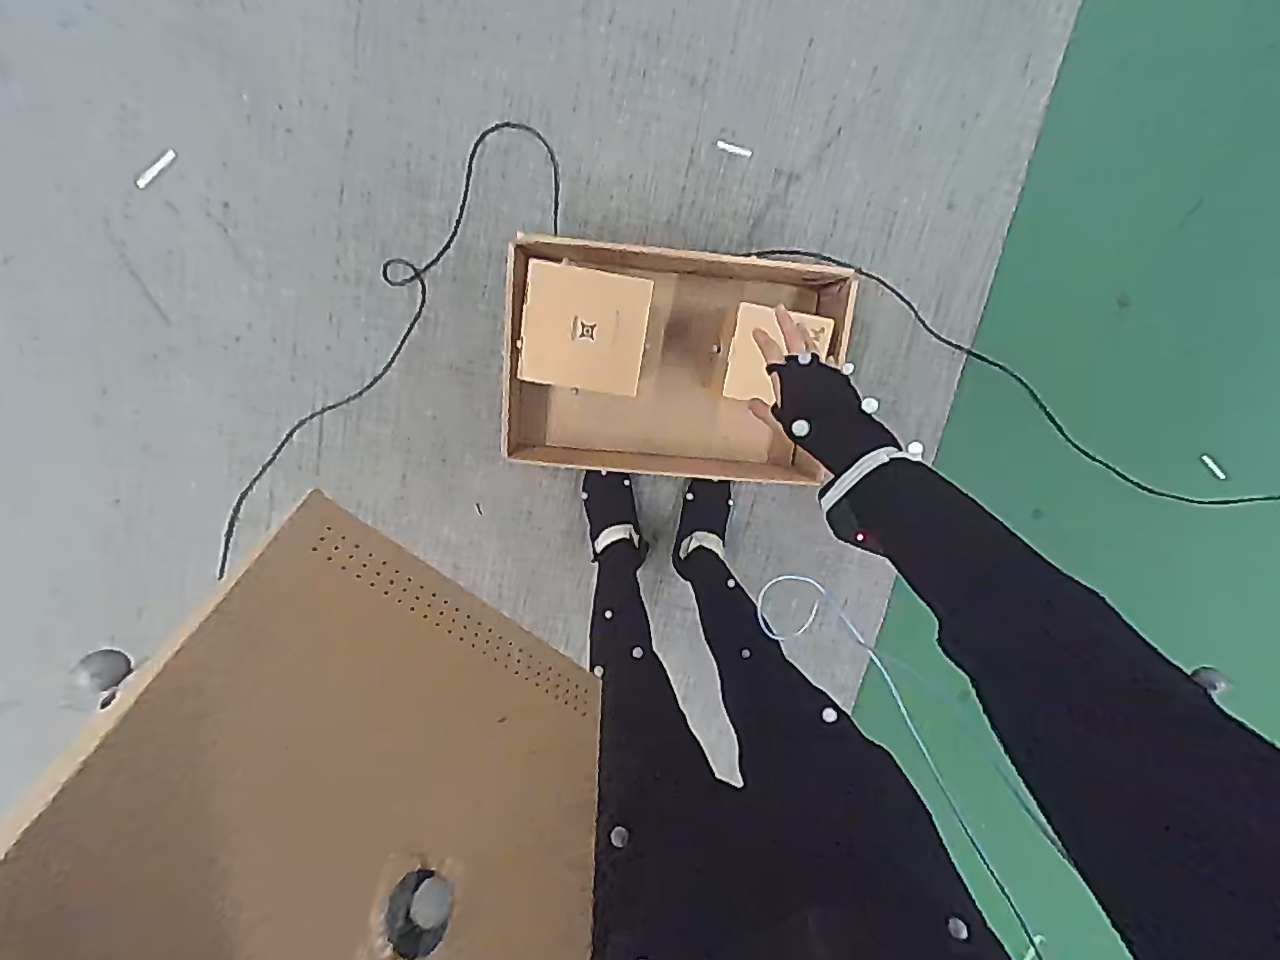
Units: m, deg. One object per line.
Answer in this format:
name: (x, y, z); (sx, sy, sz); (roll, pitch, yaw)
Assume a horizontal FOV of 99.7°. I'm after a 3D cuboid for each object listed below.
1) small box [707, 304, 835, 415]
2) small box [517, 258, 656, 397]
small box: (0.236, -0.227, 1.030); (0.179, 0.176, 0.168); (10, 102, -6)
small box: (-0.082, -0.230, 0.837); (0.179, 0.176, 0.168); (9, 104, -7)
